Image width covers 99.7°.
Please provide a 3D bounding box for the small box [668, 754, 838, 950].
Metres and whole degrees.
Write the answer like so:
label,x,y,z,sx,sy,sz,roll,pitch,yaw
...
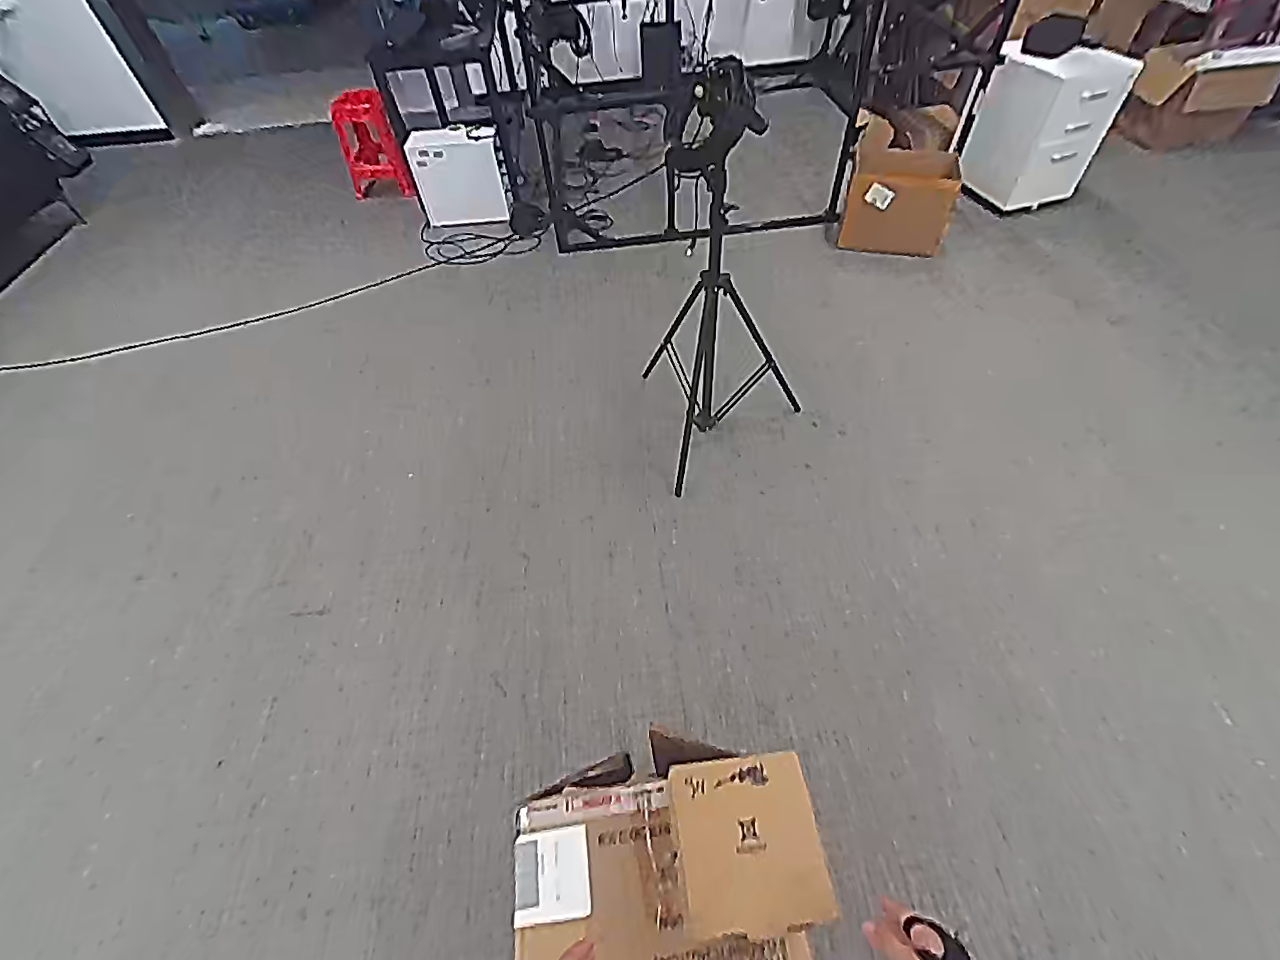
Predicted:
label,x,y,z,sx,sy,sz,roll,pitch,yaw
small box,0.129,0.470,0.695,0.168,0.176,0.179,-6,54,-3
